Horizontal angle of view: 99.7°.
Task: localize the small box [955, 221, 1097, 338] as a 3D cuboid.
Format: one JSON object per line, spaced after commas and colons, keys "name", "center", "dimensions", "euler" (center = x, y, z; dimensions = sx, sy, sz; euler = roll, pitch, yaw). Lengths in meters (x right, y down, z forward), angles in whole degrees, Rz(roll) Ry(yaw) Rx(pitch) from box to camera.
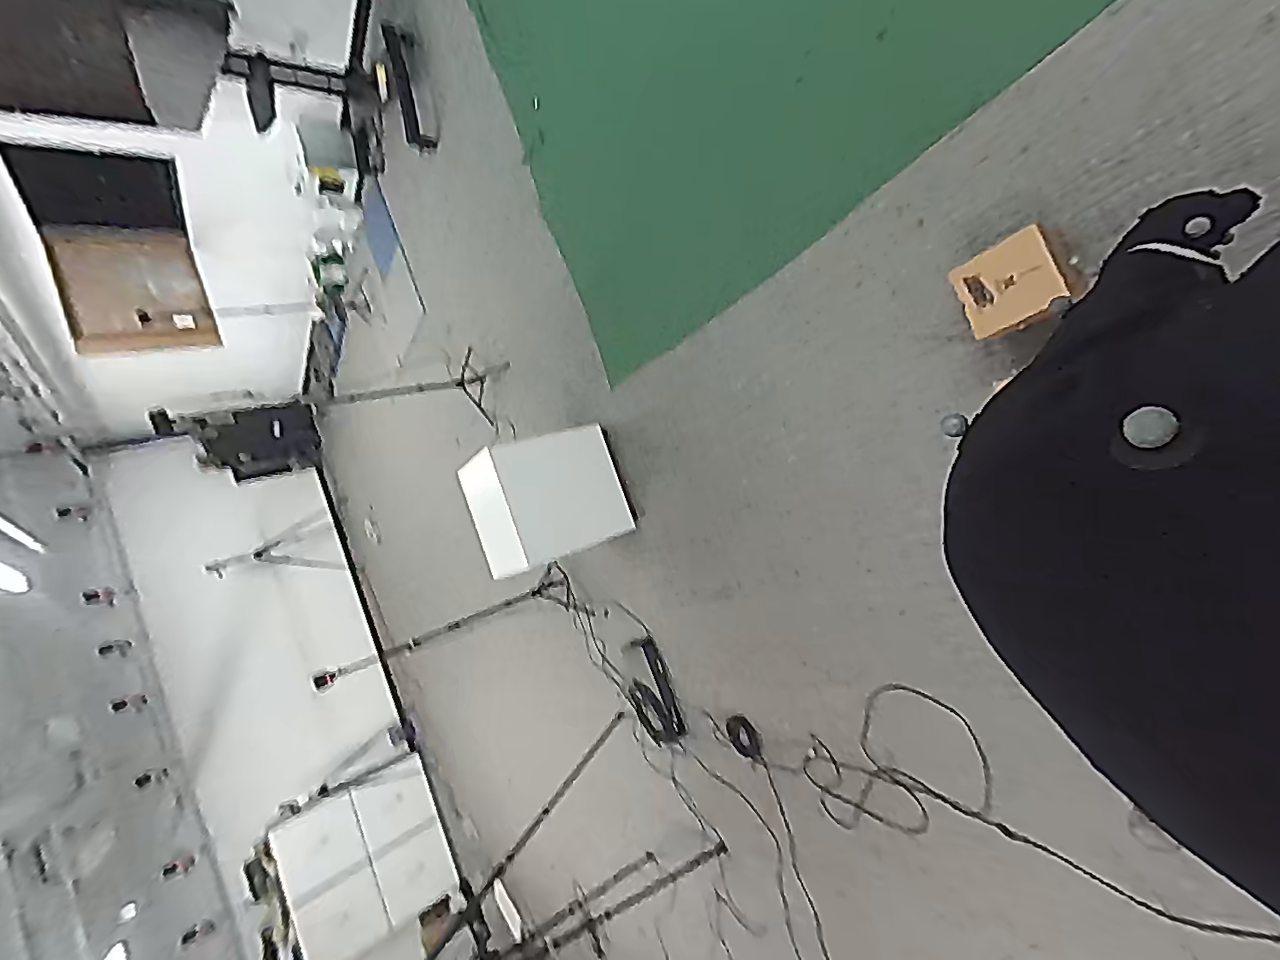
{"name": "small box", "center": [0.822, -0.419, 1.153], "dimensions": [0.179, 0.176, 0.168], "euler": [-29, 80, 50]}
